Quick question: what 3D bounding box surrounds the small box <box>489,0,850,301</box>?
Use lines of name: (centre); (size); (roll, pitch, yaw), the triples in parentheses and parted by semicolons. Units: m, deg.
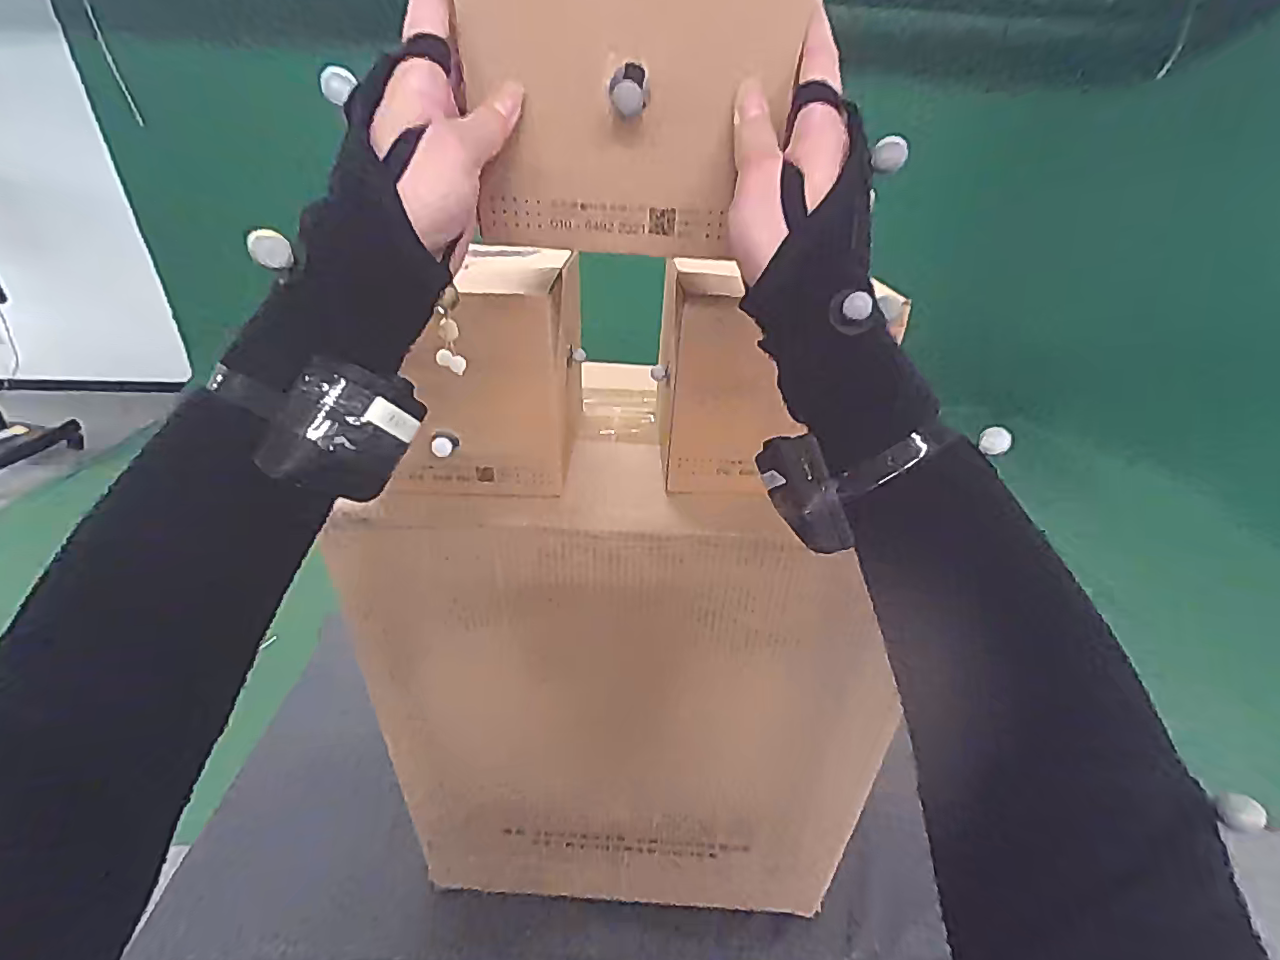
small box: (0.011, -0.223, 0.334); (0.168, 0.176, 0.179); (1, 40, -4)

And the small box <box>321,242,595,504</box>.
small box: (-0.129, -0.098, 0.466); (0.168, 0.176, 0.179); (2, 33, 2)

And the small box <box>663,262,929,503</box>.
small box: (0.115, -0.092, 0.487); (0.168, 0.176, 0.179); (3, 33, -6)
